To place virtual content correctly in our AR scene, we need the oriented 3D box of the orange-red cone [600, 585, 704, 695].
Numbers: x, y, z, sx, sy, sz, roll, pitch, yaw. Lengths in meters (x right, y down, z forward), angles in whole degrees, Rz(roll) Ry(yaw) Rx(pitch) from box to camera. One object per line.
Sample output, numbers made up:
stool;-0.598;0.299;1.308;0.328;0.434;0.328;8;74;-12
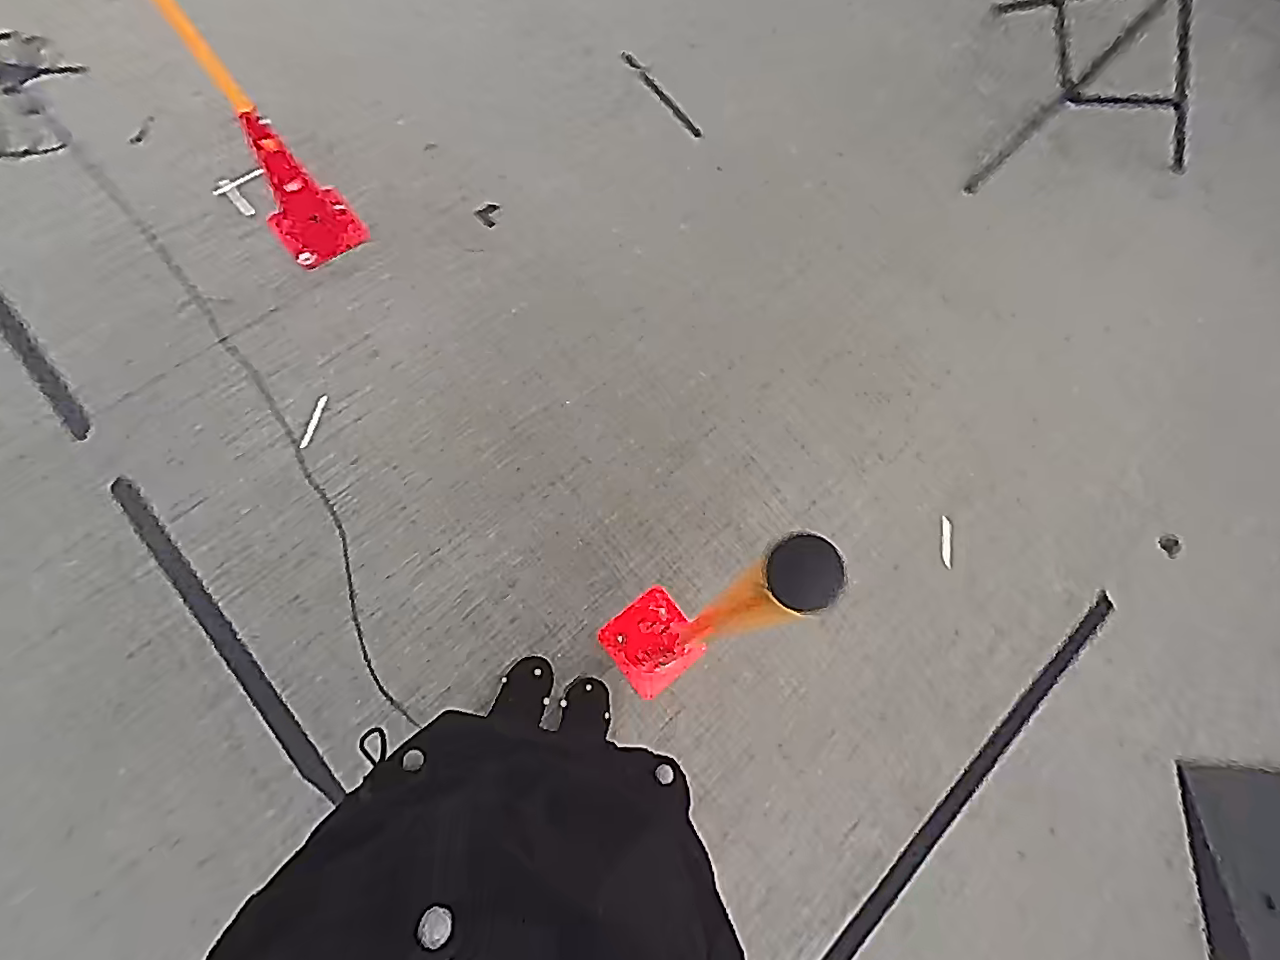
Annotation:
orange-red cone;0.051;0.332;1.117;0.198;0.360;0.199;-35;82;-14
